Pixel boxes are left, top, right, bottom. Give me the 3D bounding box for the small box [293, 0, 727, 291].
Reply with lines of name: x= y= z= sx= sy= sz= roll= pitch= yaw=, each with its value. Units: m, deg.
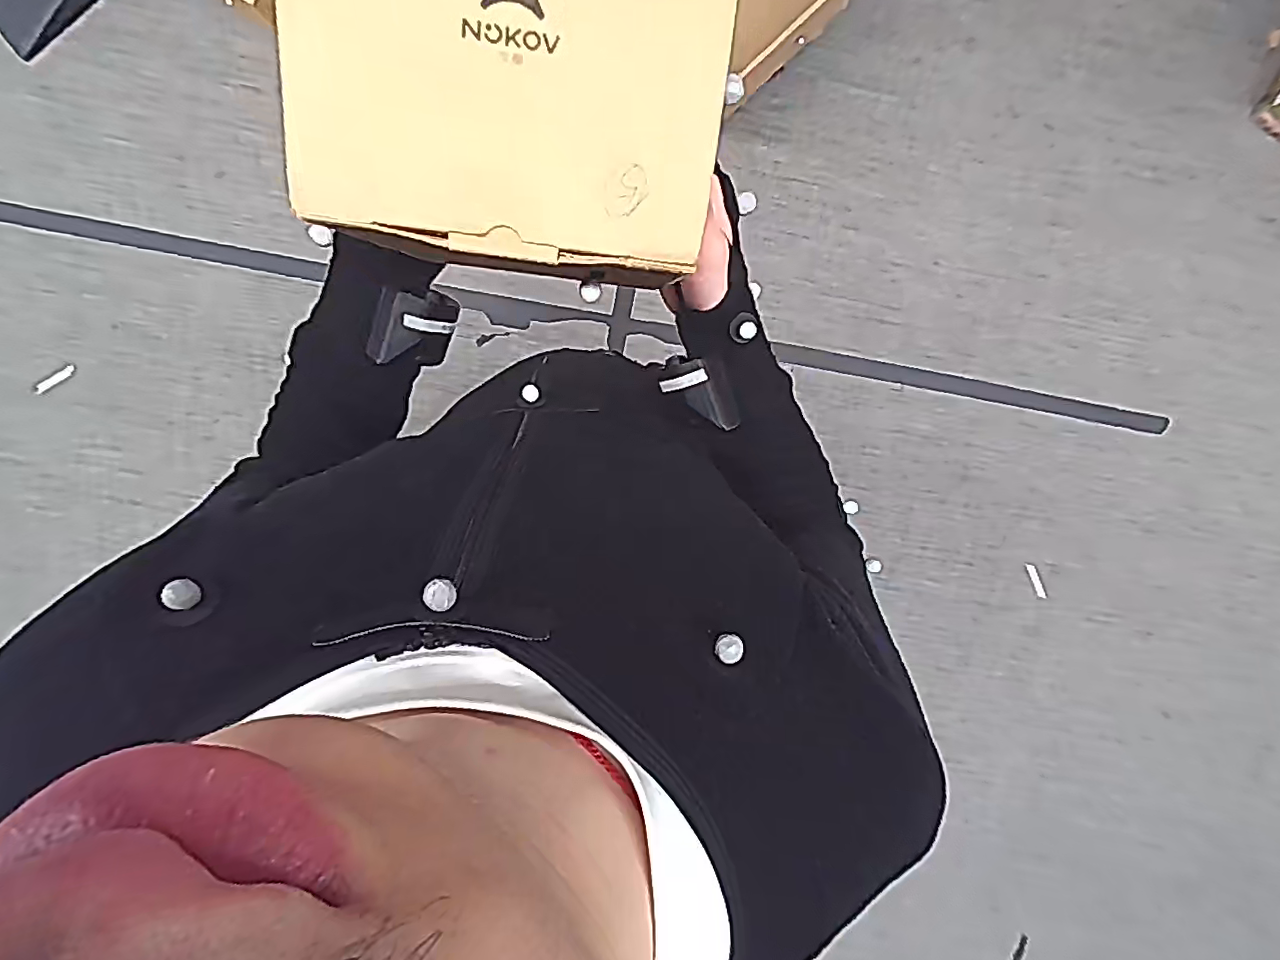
small box: x=-0.054 y=-0.202 z=0.286 sx=0.168 sy=0.176 sz=0.179 roll=5 pitch=106 yaw=-7
